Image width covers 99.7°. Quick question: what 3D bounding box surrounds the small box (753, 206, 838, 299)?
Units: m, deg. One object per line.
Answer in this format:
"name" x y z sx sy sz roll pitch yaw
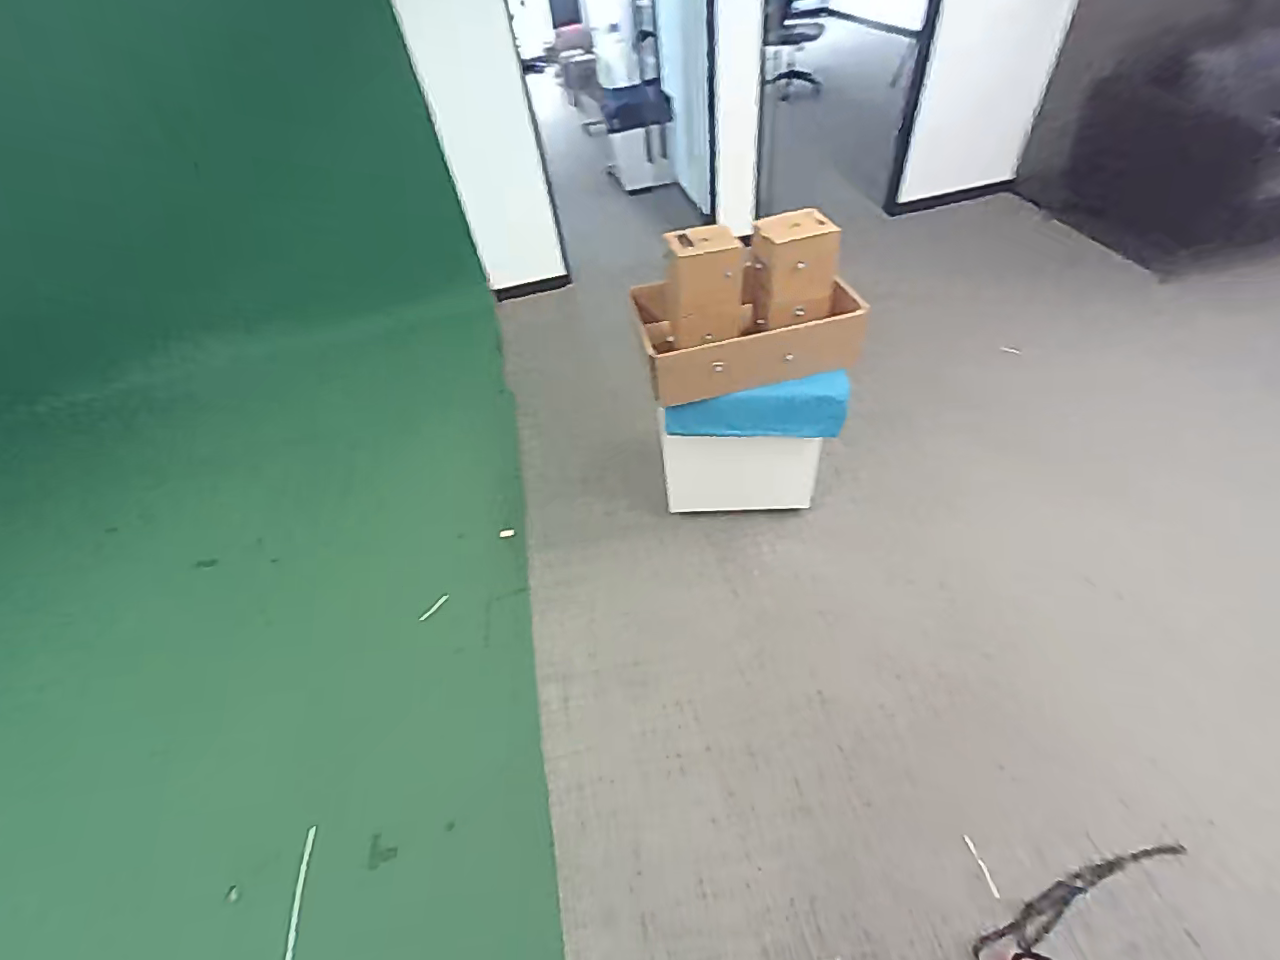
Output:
"small box" 0.420 -0.619 1.482 0.179 0.176 0.168 -15 47 -1
